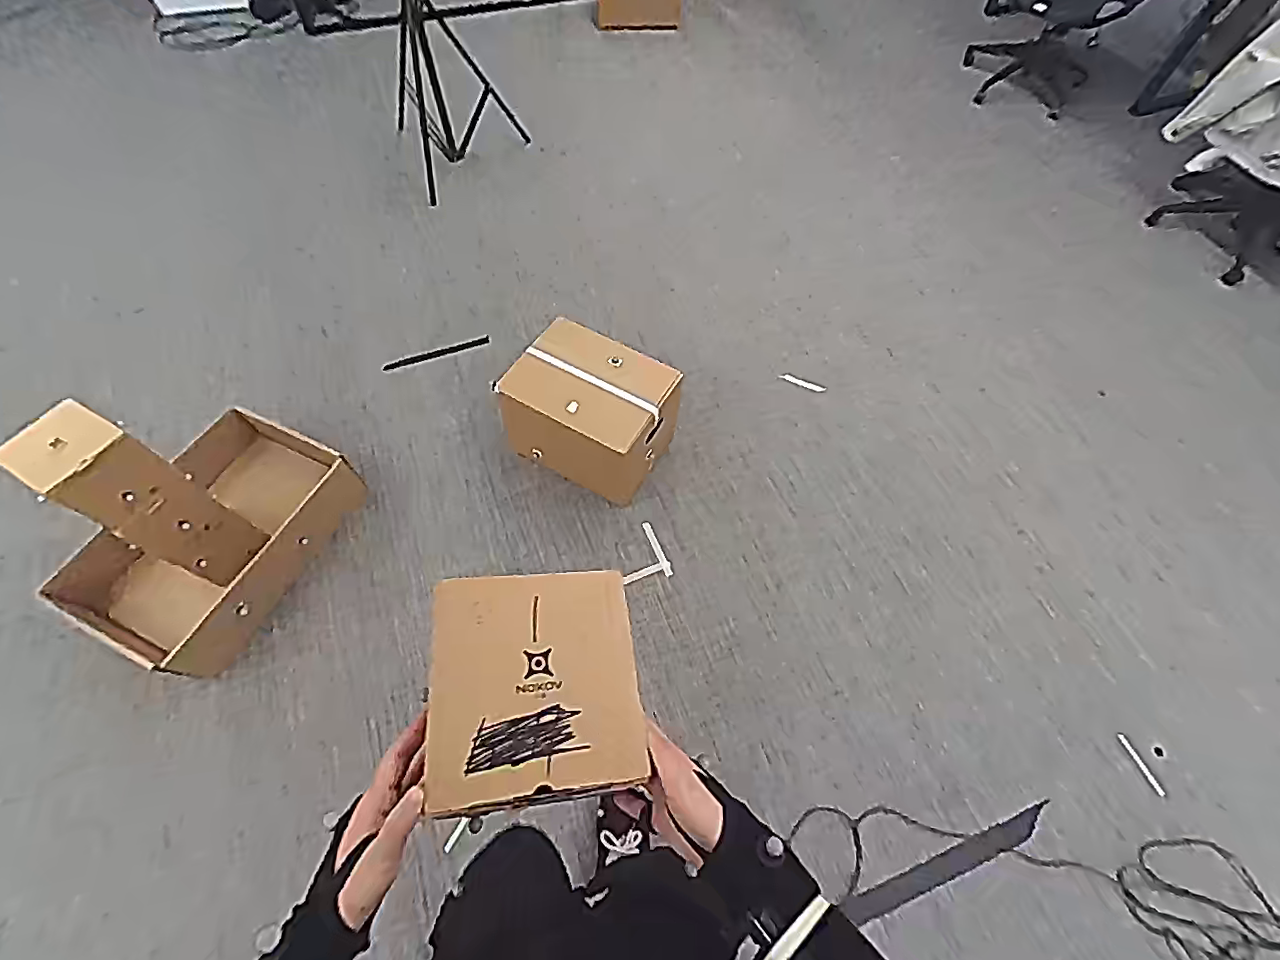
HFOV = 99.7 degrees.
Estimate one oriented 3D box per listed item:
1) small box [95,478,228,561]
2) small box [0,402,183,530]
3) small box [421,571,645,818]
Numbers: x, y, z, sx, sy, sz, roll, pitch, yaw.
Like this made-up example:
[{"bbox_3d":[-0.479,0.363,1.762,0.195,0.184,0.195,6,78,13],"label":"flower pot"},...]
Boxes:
[{"bbox_3d":[-1.114,0.066,1.244,0.179,0.176,0.168,27,62,13],"label":"small box"},{"bbox_3d":[-1.114,-0.023,1.107,0.179,0.176,0.168,26,62,13],"label":"small box"},{"bbox_3d":[-0.102,0.201,0.503,0.168,0.176,0.179,0,57,-16],"label":"small box"}]
